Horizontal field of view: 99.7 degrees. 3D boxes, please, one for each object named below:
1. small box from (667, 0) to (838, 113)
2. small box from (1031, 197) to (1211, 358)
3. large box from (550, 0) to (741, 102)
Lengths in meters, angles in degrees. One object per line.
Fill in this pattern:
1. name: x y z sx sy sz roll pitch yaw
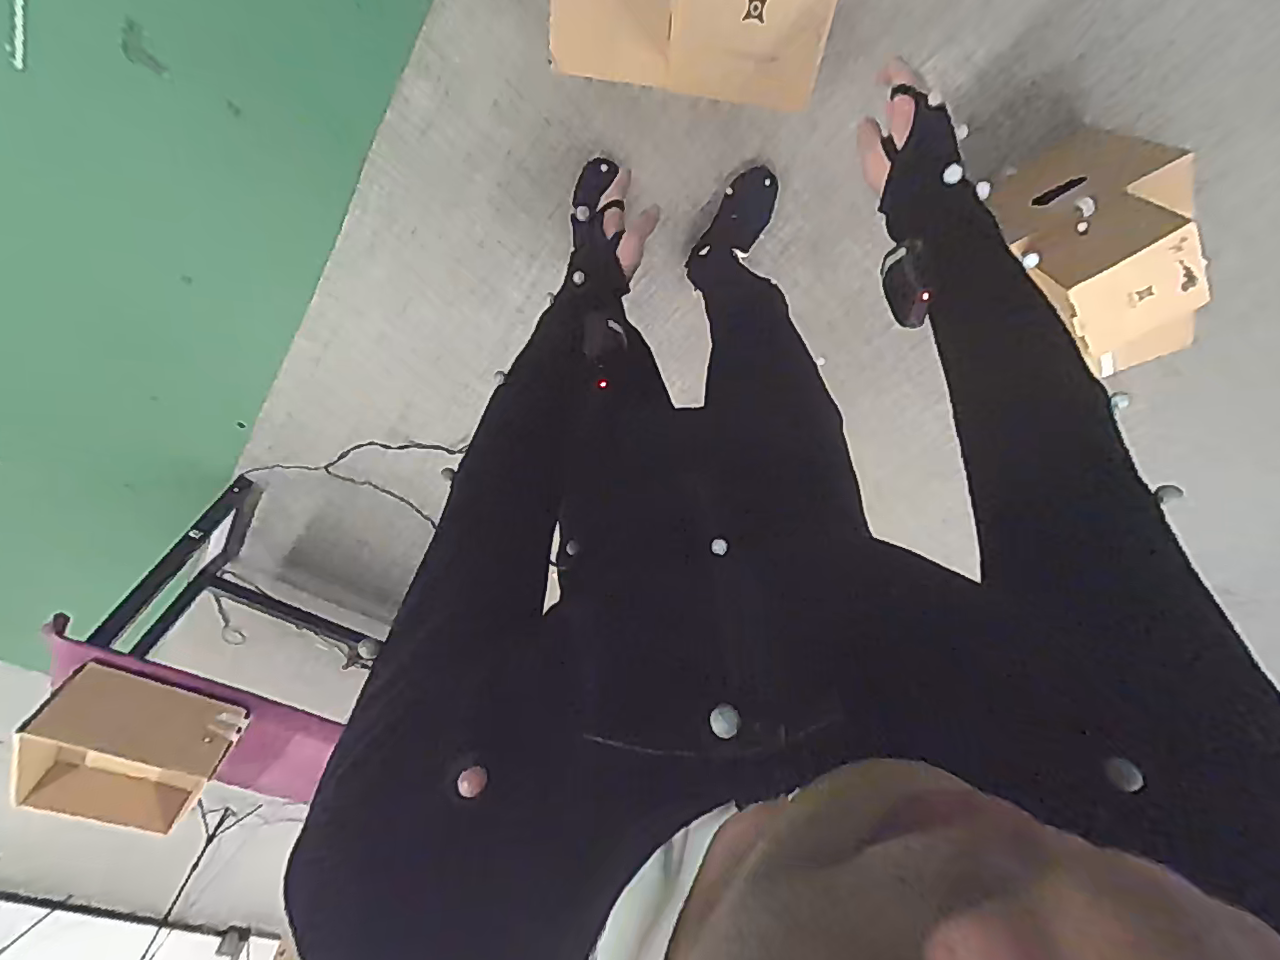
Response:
1. small box: 0.126 -0.547 0.617 0.168 0.176 0.179 8 131 -2
2. small box: 0.823 -0.354 0.946 0.179 0.176 0.168 -30 123 27
3. large box: 0.079 -0.848 0.901 0.408 0.320 0.320 8 129 -1
